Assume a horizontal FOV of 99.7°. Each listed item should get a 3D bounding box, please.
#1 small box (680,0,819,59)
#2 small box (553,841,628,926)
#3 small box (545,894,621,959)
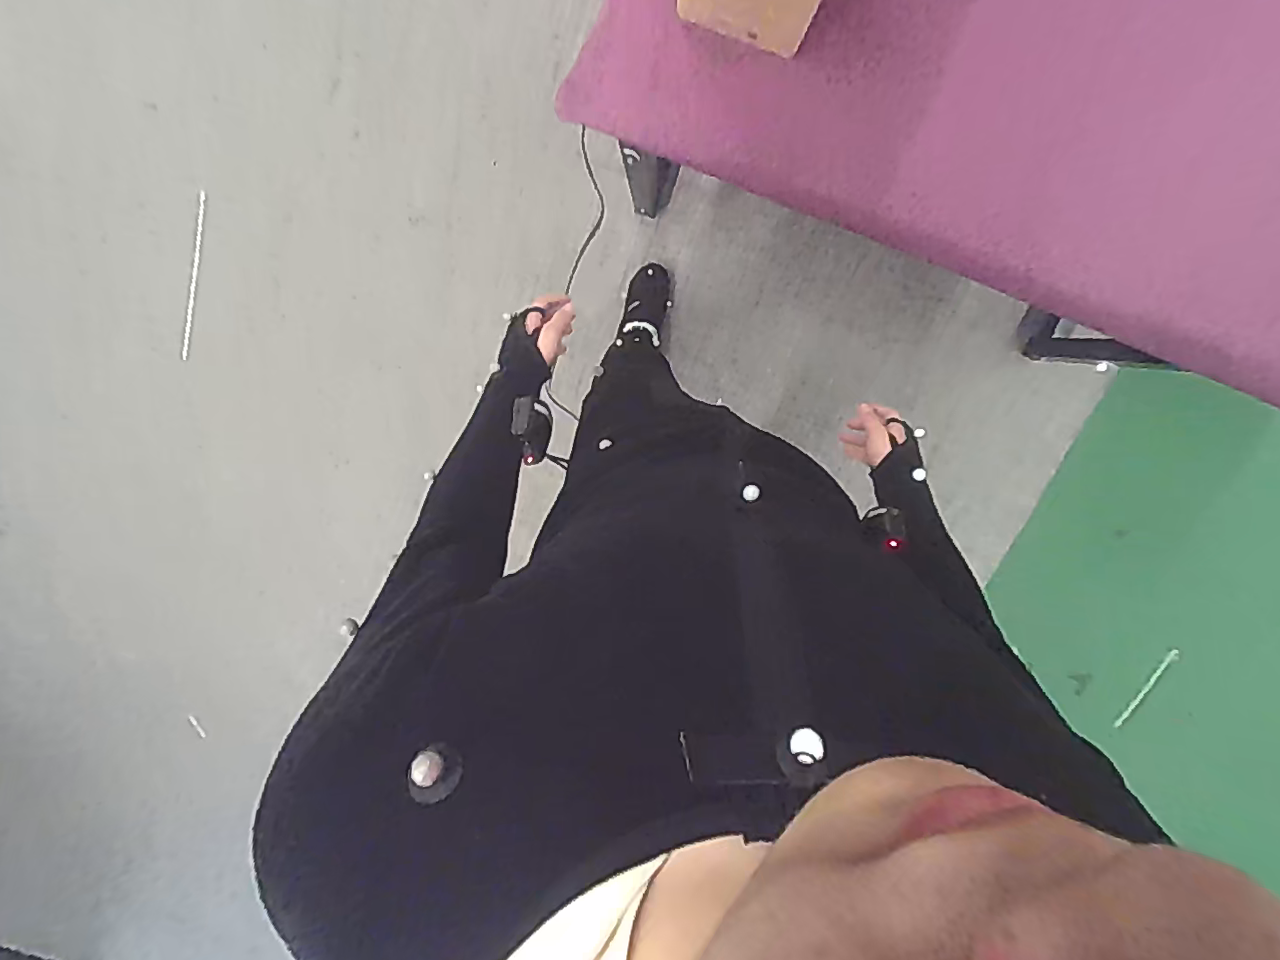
[{"bbox_3d":[0.146,-0.636,0.611,0.168,0.176,0.179,18,105,-2],"label":"small box"},{"bbox_3d":[-0.146,1.279,1.676,0.168,0.176,0.179,25,106,-3],"label":"small box"},{"bbox_3d":[-0.162,1.326,1.519,0.168,0.176,0.179,26,106,-3],"label":"small box"}]
